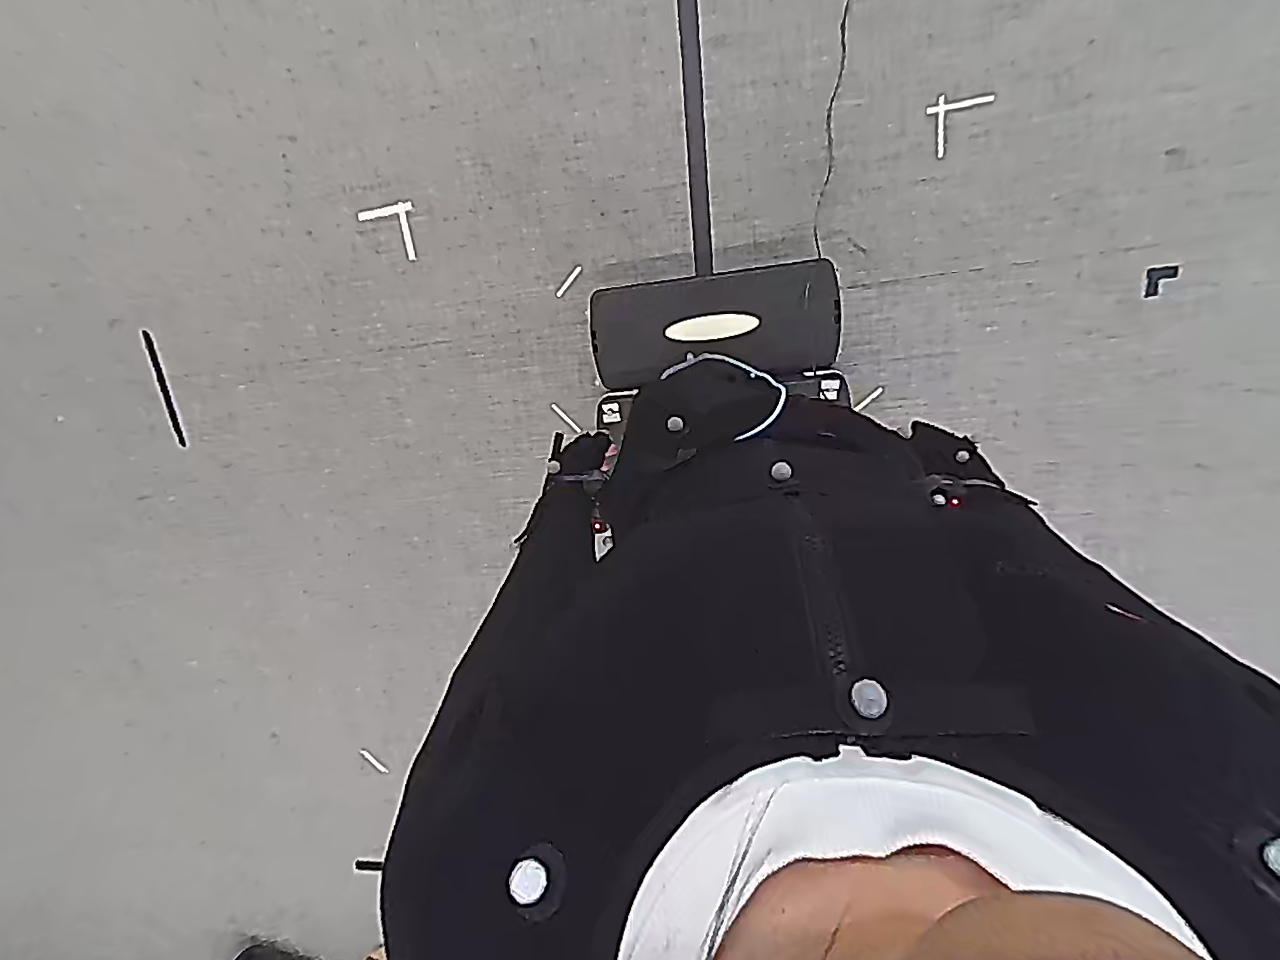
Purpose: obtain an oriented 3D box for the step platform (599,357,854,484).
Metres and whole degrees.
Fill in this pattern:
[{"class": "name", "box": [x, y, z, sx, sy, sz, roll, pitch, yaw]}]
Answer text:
[{"class": "step platform", "box": [0.230, -0.161, 1.504, 0.684, 0.204, 0.286, -5, 103, 11]}]
